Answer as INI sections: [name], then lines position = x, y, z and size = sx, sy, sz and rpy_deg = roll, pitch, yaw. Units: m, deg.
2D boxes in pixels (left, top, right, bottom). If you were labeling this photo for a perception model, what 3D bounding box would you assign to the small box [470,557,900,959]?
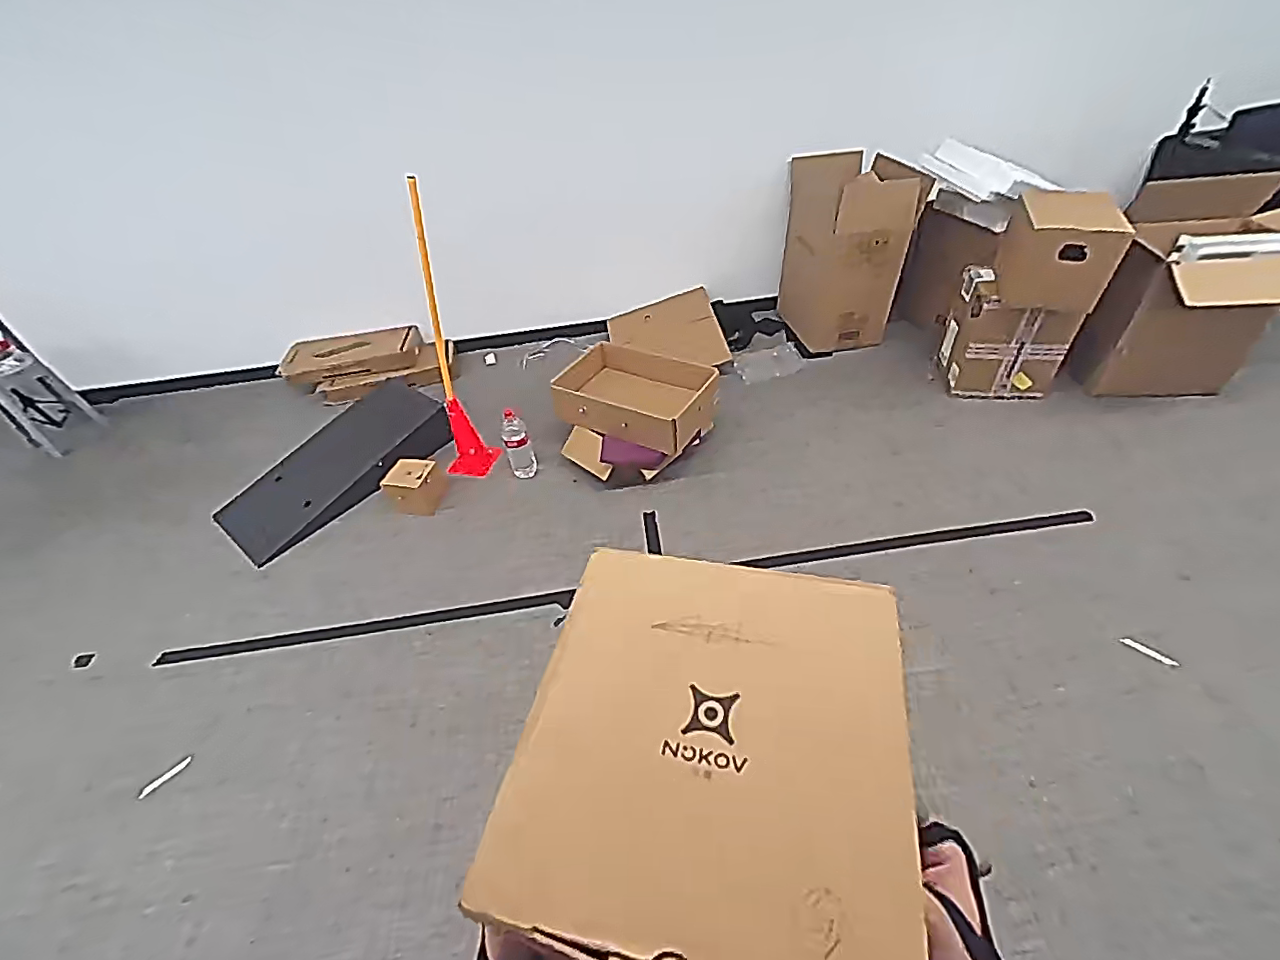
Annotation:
[small box]
position = 0.036, 0.171, 0.308
size = 0.168, 0.176, 0.179
rpy_deg = 5, 44, 12
